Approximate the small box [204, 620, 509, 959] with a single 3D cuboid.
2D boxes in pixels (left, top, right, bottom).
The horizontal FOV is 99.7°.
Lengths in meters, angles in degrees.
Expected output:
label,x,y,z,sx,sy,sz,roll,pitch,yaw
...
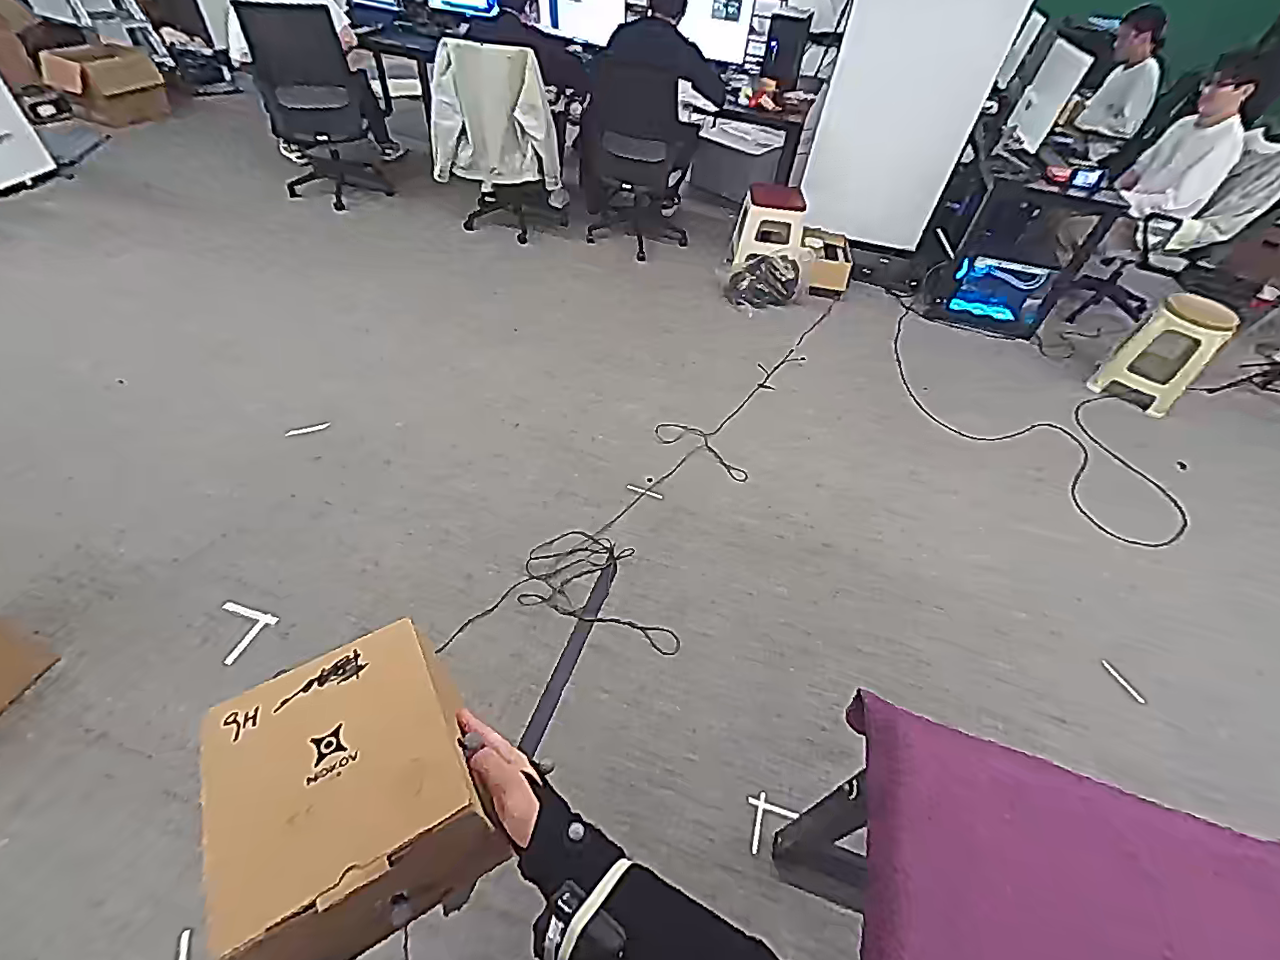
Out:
label,x,y,z,sx,sy,sz,roll,pitch,yaw
small box,-0.225,0.260,0.457,0.168,0.176,0.179,-23,51,-21
